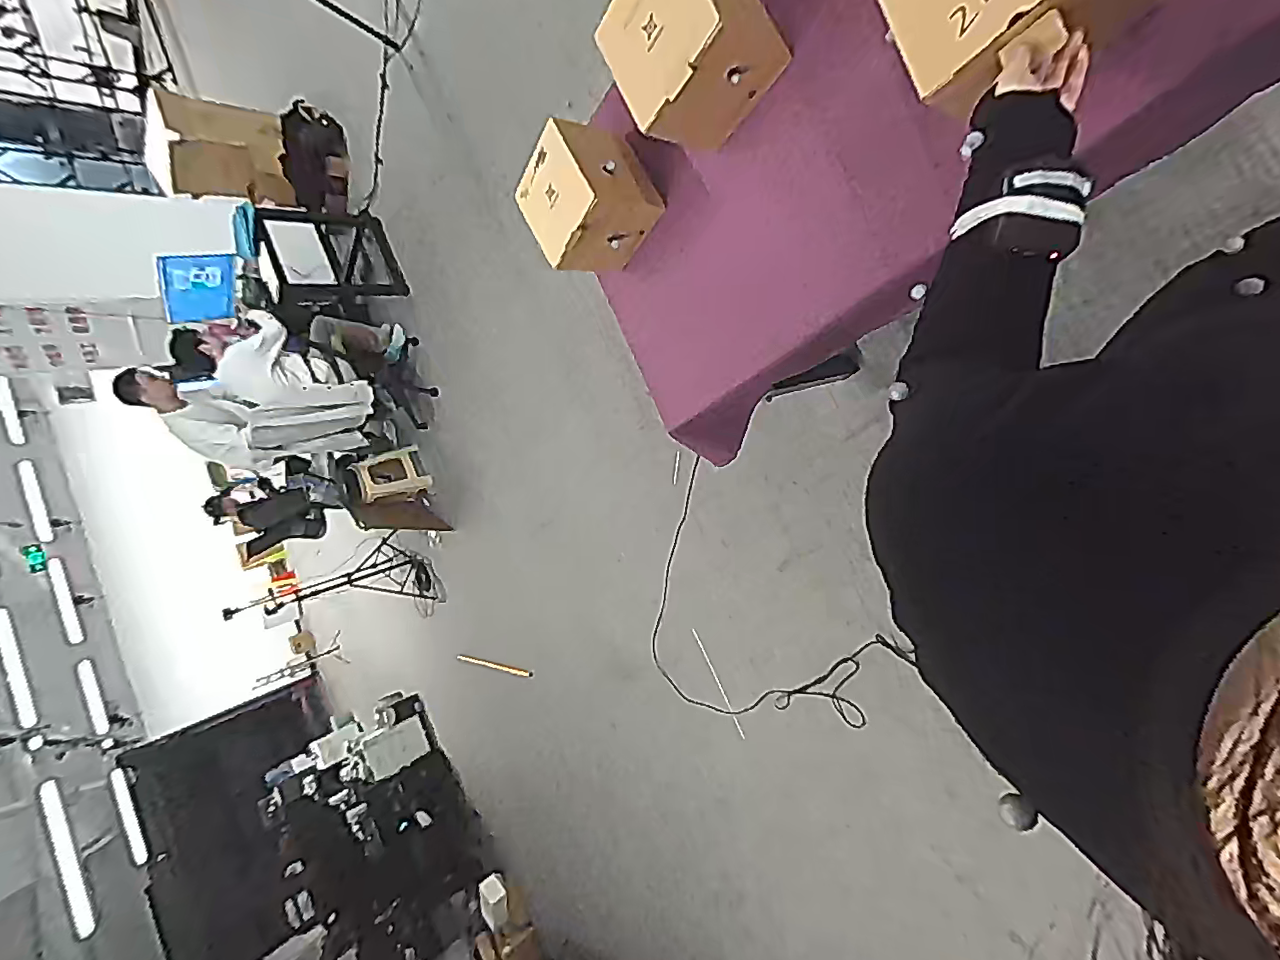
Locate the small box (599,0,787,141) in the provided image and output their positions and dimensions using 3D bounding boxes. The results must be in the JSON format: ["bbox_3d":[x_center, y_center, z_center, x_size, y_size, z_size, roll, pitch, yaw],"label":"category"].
[{"bbox_3d":[0.078,-0.619,0.768,0.168,0.176,0.179,-31,80,47],"label":"small box"}]

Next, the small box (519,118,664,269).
[{"bbox_3d":[-0.086,-0.512,0.986,0.168,0.176,0.179,-39,76,47],"label":"small box"}]

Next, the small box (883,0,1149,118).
[{"bbox_3d":[0.347,-0.490,0.514,0.168,0.176,0.179,-25,85,50],"label":"small box"}]
